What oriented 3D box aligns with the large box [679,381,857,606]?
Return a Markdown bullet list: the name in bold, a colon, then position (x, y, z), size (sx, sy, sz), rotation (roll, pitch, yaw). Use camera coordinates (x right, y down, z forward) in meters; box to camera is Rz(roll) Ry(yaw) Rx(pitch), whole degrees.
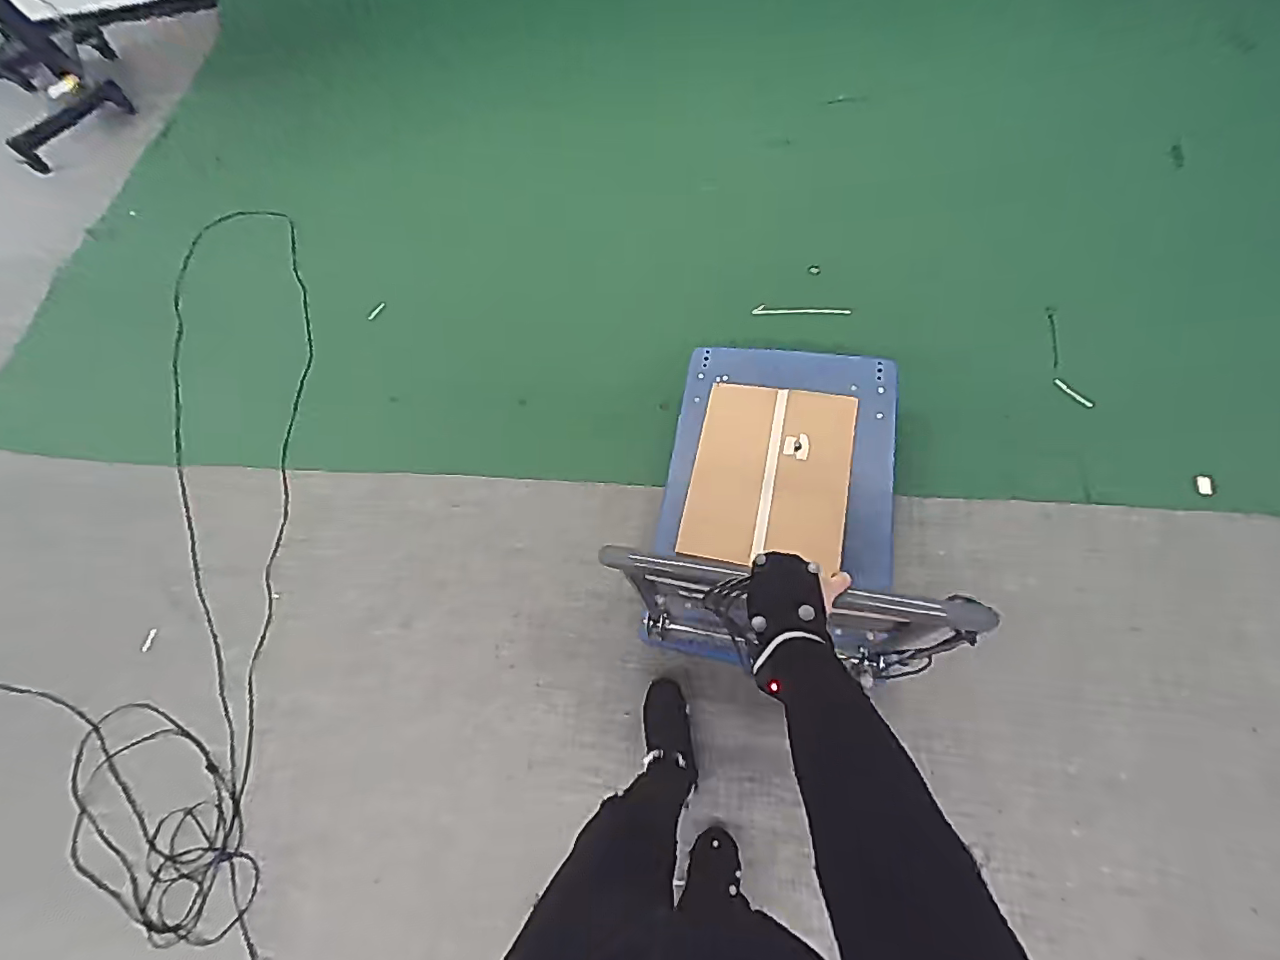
- **large box**: position (0.290, 0.039, 1.231), size (0.320, 0.320, 0.408), rotation (10, 69, 13)
